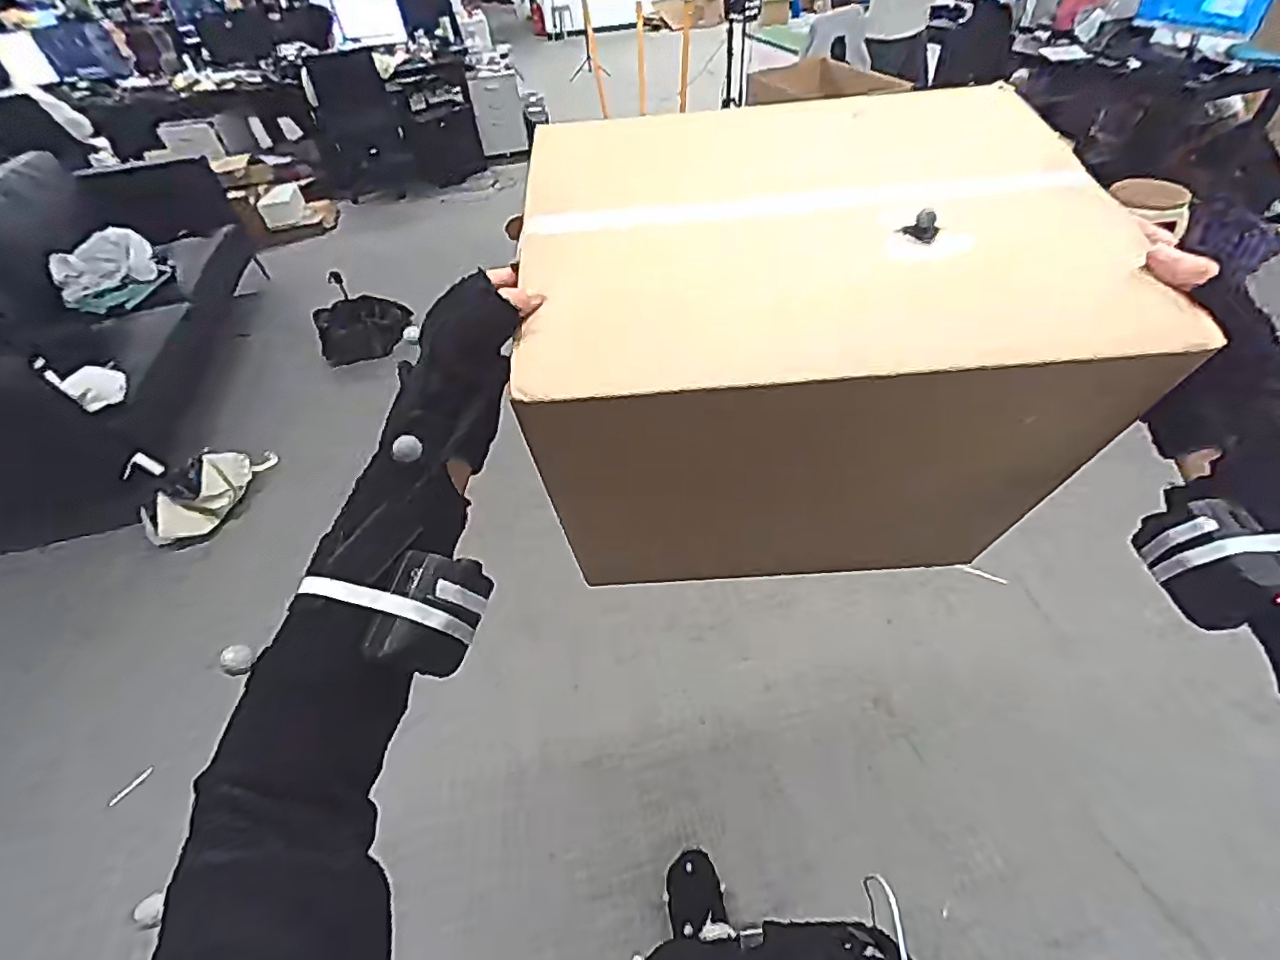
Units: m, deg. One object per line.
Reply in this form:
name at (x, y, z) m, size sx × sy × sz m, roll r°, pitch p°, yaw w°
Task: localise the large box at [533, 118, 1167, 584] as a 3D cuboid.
large box at (0.126, -0.107, 0.537) m, size 0.408 × 0.320 × 0.320 m, roll -4°, pitch 59°, yaw 1°
